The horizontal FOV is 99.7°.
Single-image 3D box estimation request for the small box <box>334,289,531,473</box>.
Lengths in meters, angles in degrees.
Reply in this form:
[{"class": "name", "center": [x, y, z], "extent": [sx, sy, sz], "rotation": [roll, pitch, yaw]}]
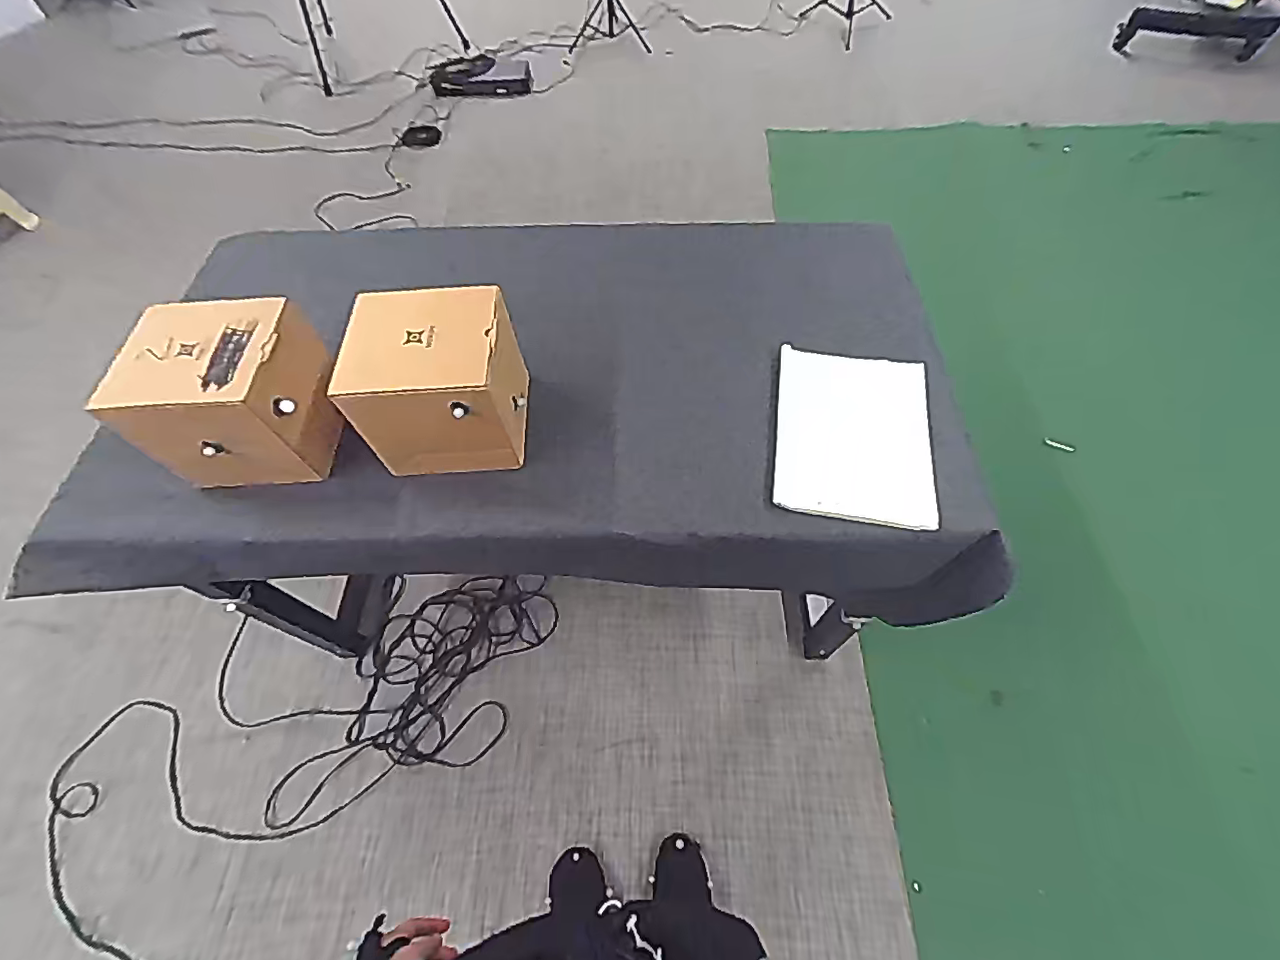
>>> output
[{"class": "small box", "center": [-0.248, -0.120, 0.696], "extent": [0.179, 0.176, 0.168], "rotation": [-4, 58, -1]}]
